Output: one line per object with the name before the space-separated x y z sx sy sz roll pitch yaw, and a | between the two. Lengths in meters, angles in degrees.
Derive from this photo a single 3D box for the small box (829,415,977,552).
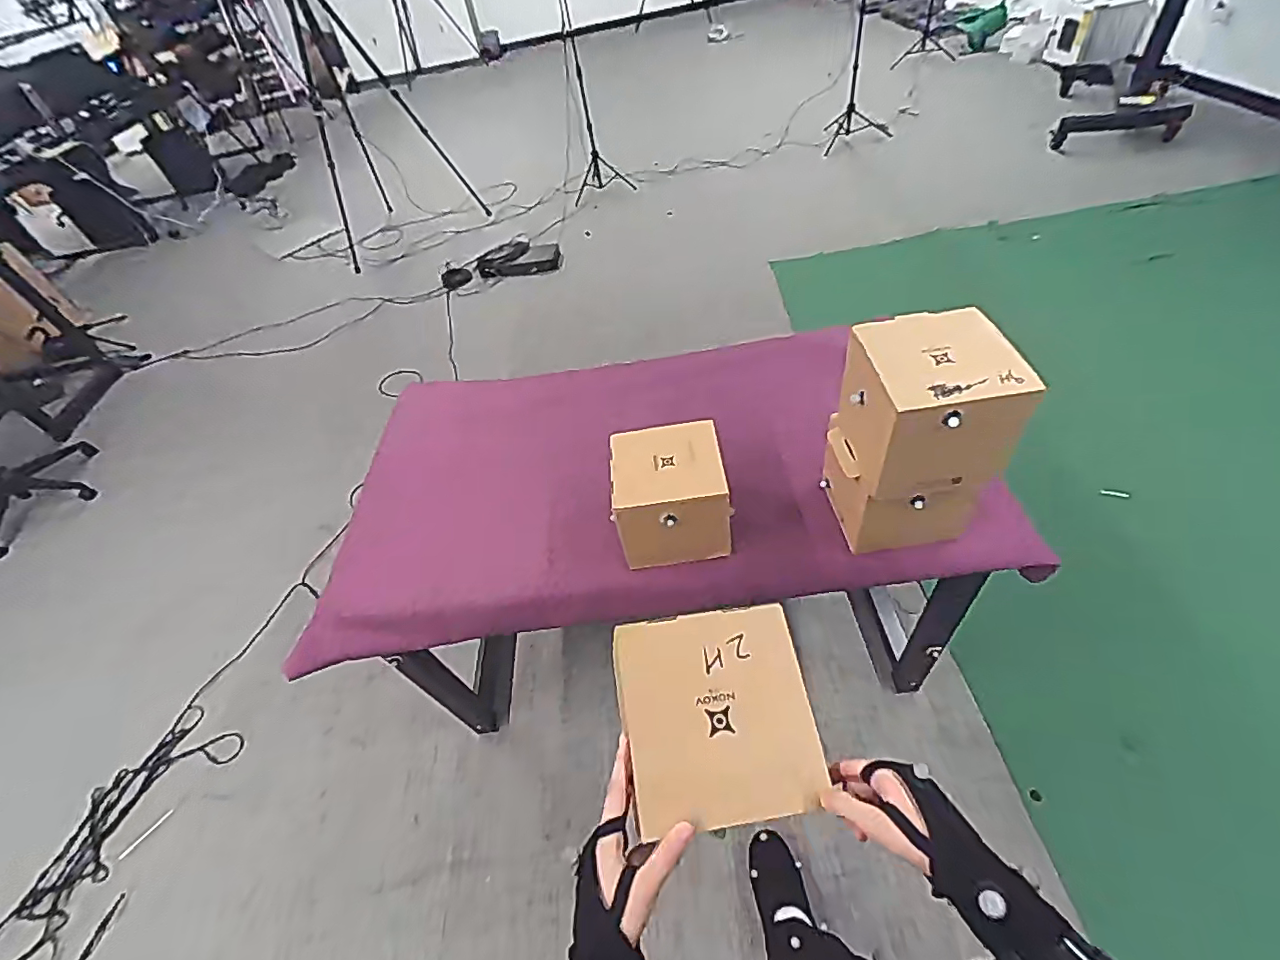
small box | 0.410 -0.002 0.860 0.179 0.176 0.168 -10 48 3

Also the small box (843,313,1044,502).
small box | 0.383 -0.095 0.726 0.168 0.176 0.179 -9 48 6

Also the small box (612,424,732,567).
small box | 0.055 0.031 0.907 0.179 0.176 0.168 -8 47 5
